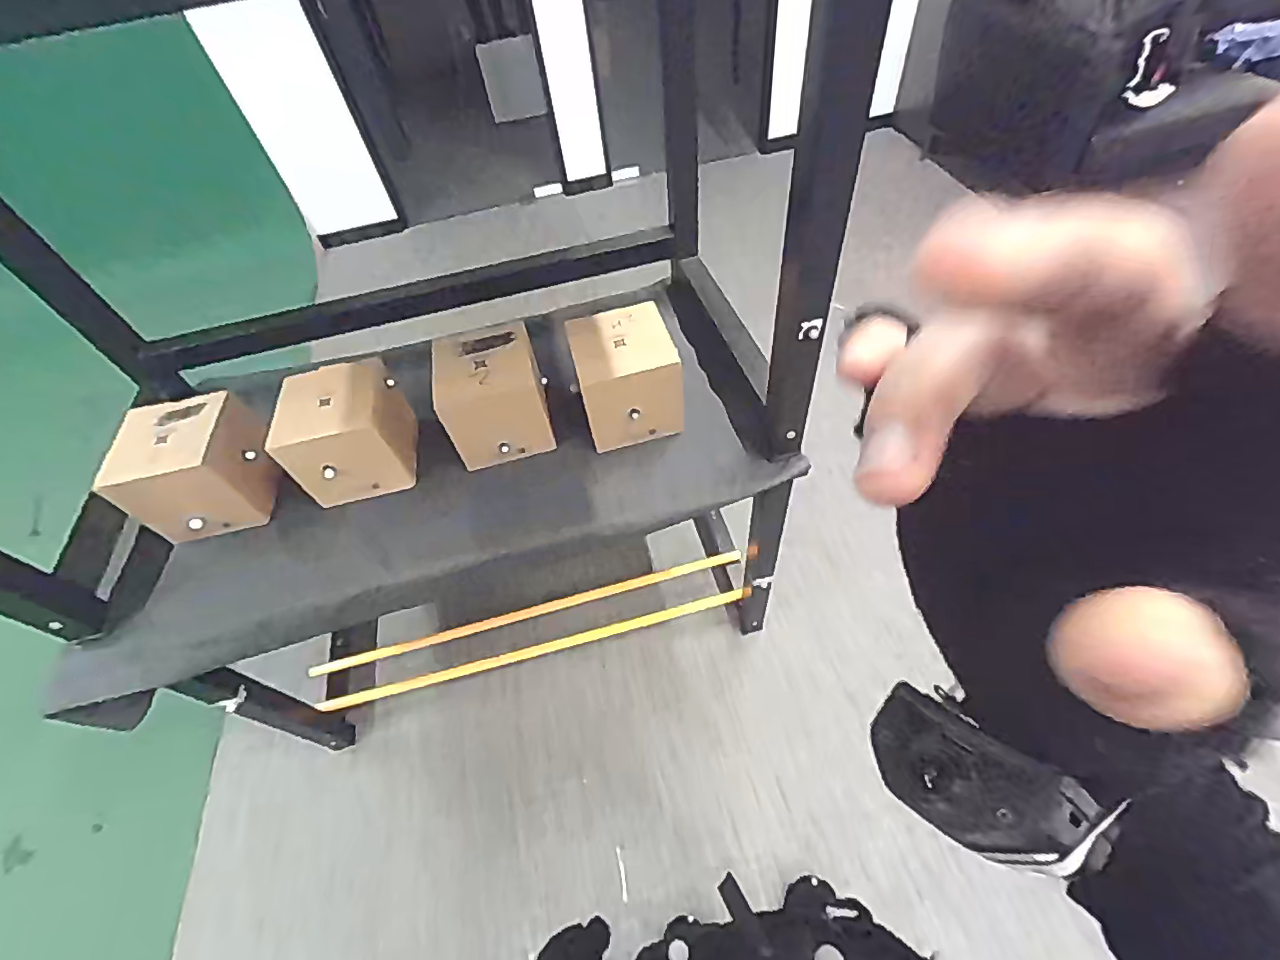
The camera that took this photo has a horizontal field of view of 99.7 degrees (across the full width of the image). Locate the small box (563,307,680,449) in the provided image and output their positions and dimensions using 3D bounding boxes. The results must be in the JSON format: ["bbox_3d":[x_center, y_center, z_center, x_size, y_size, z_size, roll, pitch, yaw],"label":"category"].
[{"bbox_3d":[-0.030,-0.174,0.967,0.168,0.176,0.179,-14,52,-4],"label":"small box"}]

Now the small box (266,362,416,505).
[{"bbox_3d":[-0.510,-0.074,0.951,0.168,0.176,0.179,-13,52,-4],"label":"small box"}]

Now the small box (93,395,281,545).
[{"bbox_3d":[-0.755,-0.015,0.930,0.168,0.176,0.179,-13,53,-4],"label":"small box"}]
